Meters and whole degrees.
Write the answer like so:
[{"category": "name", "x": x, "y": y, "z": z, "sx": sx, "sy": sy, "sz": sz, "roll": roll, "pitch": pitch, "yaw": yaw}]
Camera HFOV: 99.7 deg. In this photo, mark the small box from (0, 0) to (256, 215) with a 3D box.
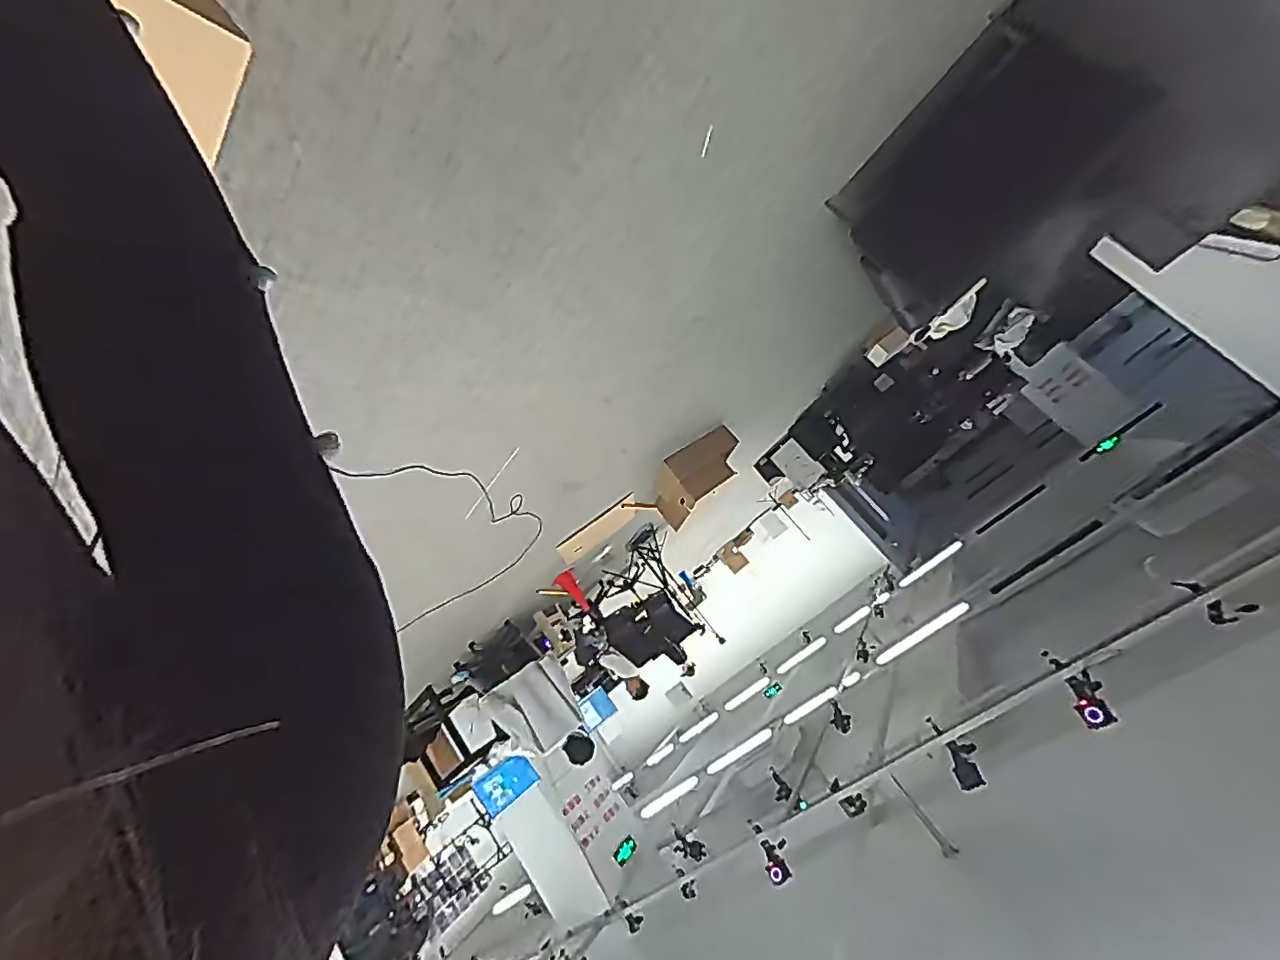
[{"category": "small box", "x": -0.452, "y": -0.351, "z": 0.418, "sx": 0.168, "sy": 0.176, "sz": 0.179, "roll": -47, "pitch": 162, "yaw": 24}]
